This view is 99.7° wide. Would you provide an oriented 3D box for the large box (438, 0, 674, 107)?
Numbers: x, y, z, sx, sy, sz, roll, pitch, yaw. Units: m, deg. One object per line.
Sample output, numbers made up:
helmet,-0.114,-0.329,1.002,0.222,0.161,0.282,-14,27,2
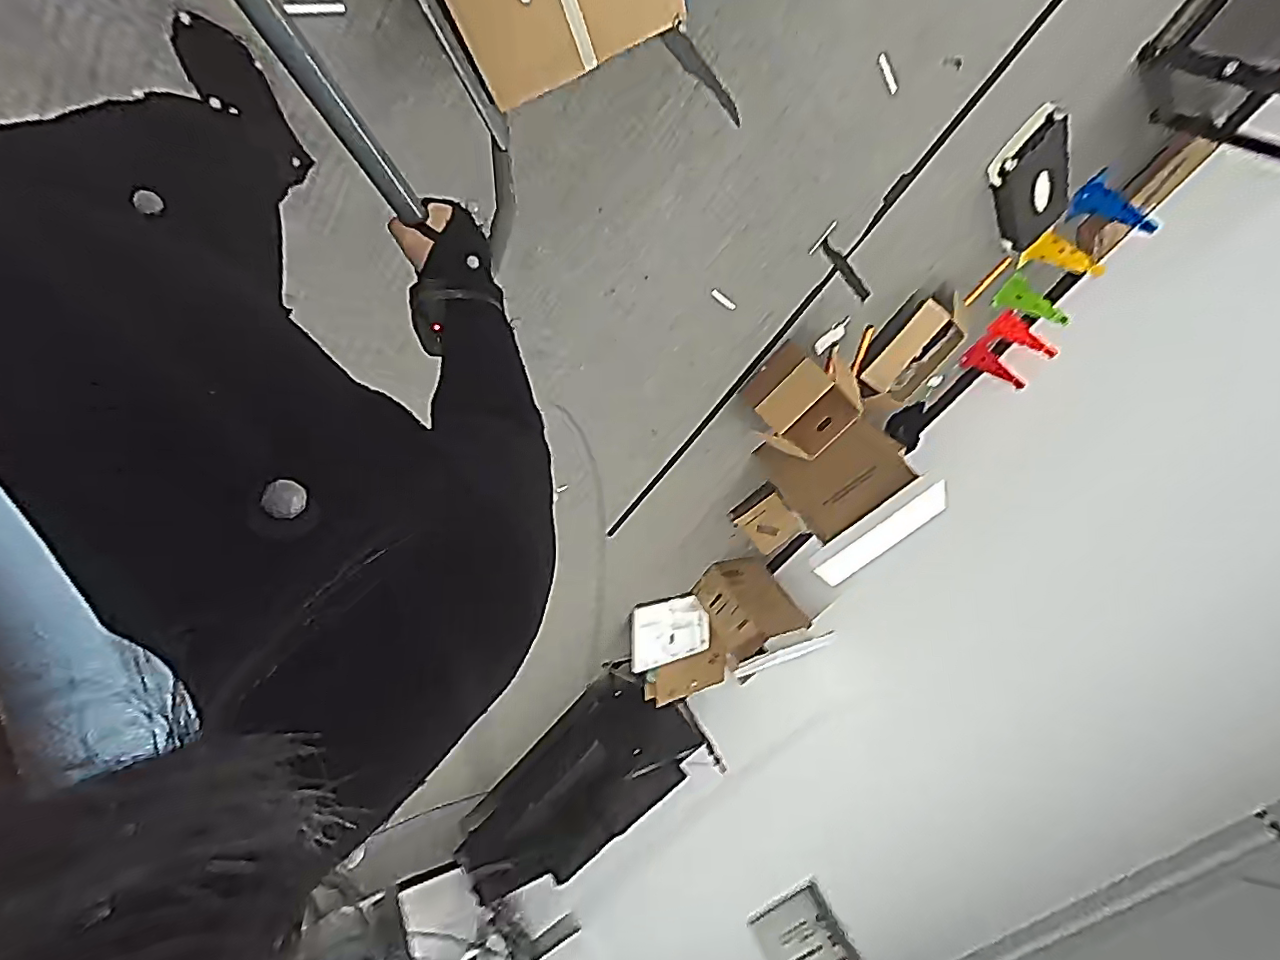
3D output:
large box,-0.184,-0.847,0.739,0.320,0.320,0.408,-20,148,7
